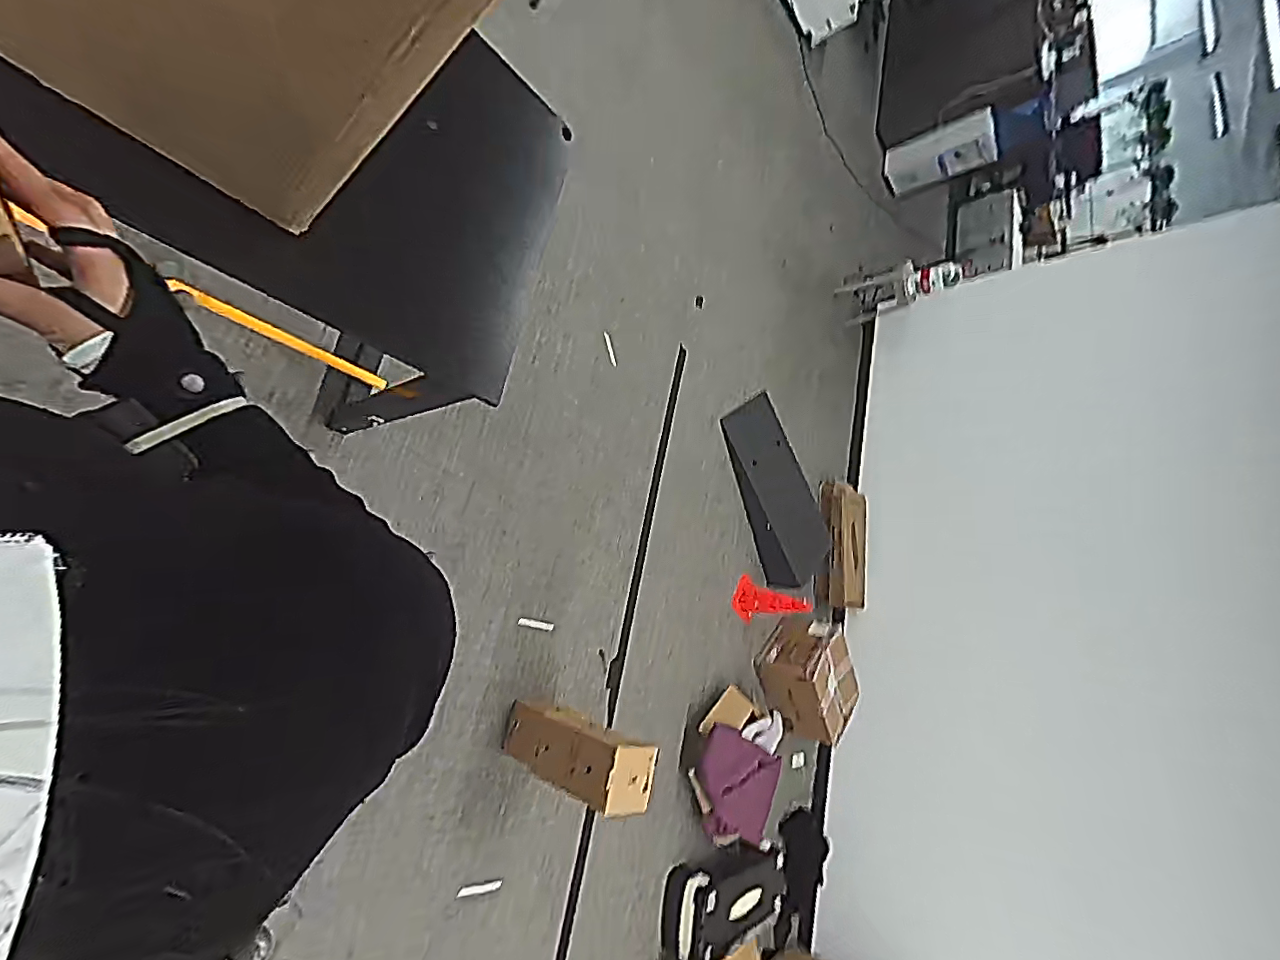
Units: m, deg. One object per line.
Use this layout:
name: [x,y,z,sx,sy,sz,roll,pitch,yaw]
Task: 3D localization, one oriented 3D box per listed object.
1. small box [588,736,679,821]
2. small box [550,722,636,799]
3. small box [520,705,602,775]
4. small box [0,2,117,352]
small box: [-0.020,0.827,1.509,0.179,0.176,0.168,28,68,-43]
small box: [-0.139,0.833,1.621,0.179,0.176,0.168,28,68,-43]
small box: [-0.254,0.833,1.740,0.179,0.176,0.168,27,69,-42]
small box: [-0.385,-0.148,0.245,0.179,0.176,0.168,-22,105,-40]
